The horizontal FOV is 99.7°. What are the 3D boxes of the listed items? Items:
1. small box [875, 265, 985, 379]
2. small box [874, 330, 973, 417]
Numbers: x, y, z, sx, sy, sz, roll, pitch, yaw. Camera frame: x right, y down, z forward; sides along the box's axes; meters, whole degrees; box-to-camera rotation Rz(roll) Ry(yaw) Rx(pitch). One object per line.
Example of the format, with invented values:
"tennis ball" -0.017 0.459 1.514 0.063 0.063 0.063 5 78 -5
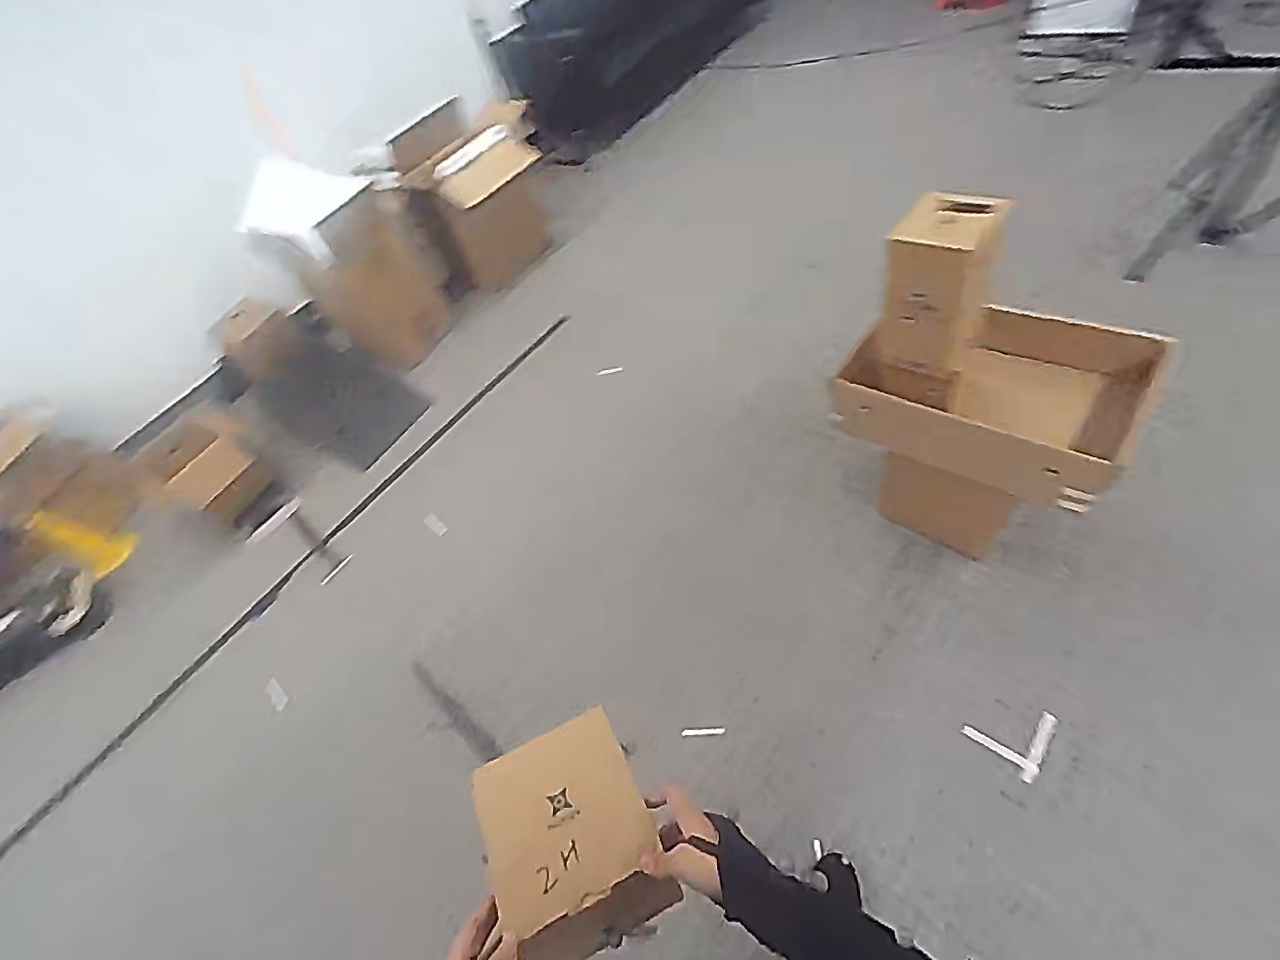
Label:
"small box" 0.665 -0.368 1.261 0.168 0.176 0.179 28 66 35
"small box" 0.723 -0.285 1.390 0.179 0.176 0.168 22 63 32
